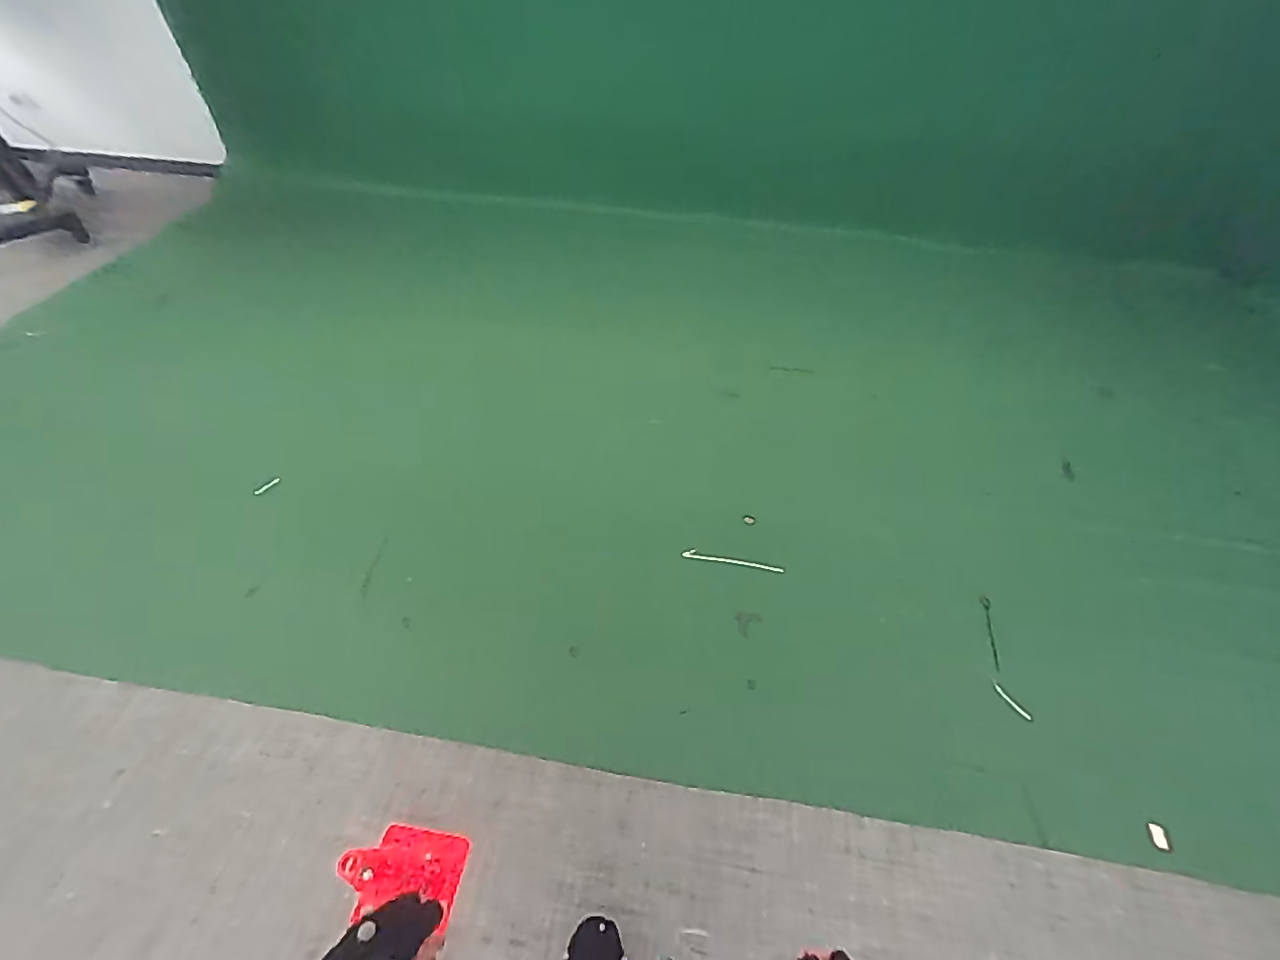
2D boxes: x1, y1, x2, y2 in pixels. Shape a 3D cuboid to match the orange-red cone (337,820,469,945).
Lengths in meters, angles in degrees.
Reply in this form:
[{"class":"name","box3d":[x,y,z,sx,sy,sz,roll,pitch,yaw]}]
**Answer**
[{"class":"orange-red cone","box3d":[-0.489,0.753,1.039,0.198,0.360,0.199,8,50,6]}]
